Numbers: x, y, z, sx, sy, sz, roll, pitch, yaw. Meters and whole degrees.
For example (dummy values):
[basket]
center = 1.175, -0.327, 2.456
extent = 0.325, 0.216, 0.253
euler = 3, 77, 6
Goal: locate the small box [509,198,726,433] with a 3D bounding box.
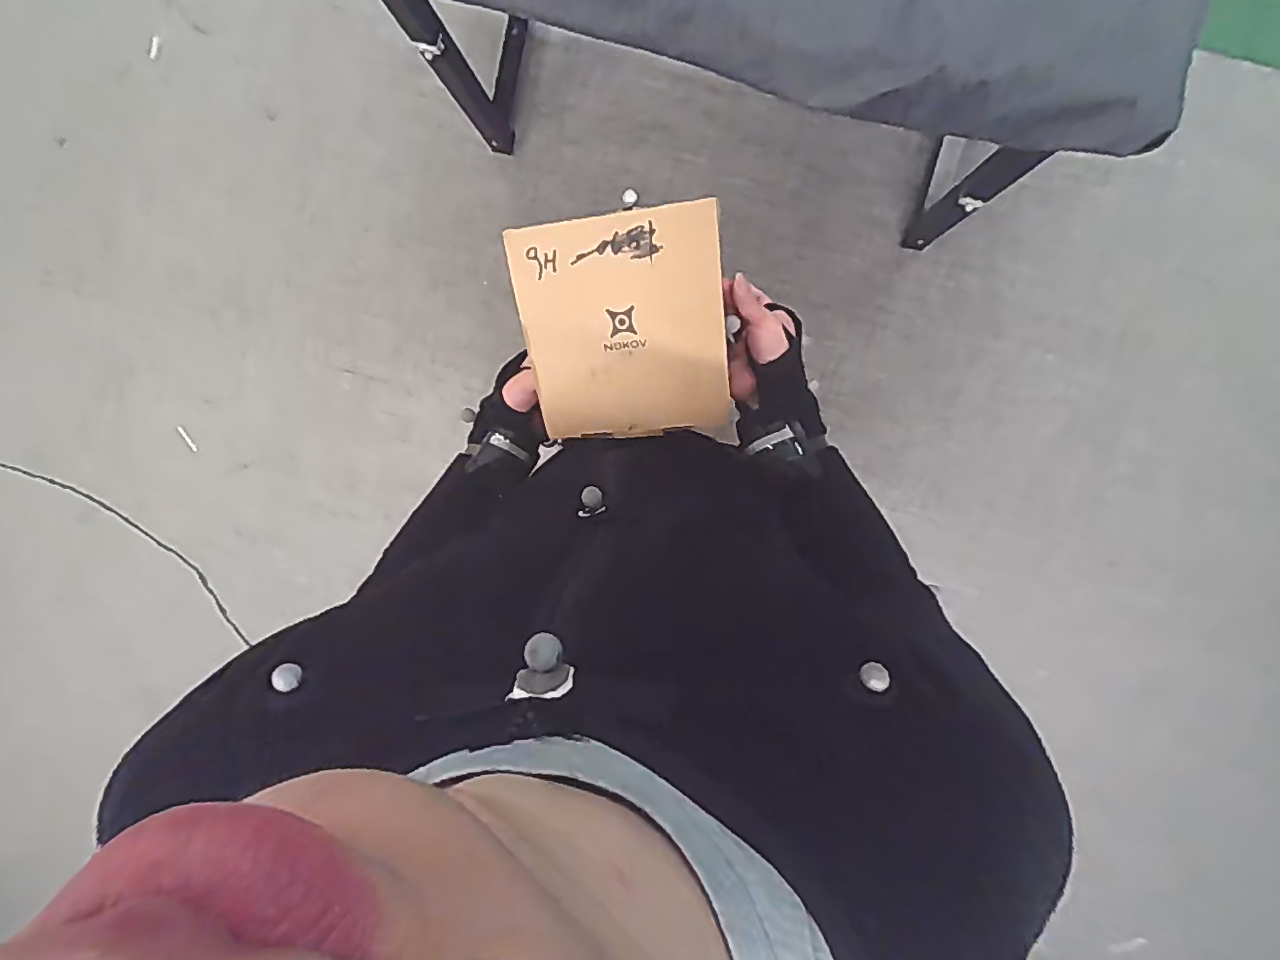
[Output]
[small box]
center = -0.004, -0.161, 0.518
extent = 0.168, 0.176, 0.179
euler = -4, 118, 9
